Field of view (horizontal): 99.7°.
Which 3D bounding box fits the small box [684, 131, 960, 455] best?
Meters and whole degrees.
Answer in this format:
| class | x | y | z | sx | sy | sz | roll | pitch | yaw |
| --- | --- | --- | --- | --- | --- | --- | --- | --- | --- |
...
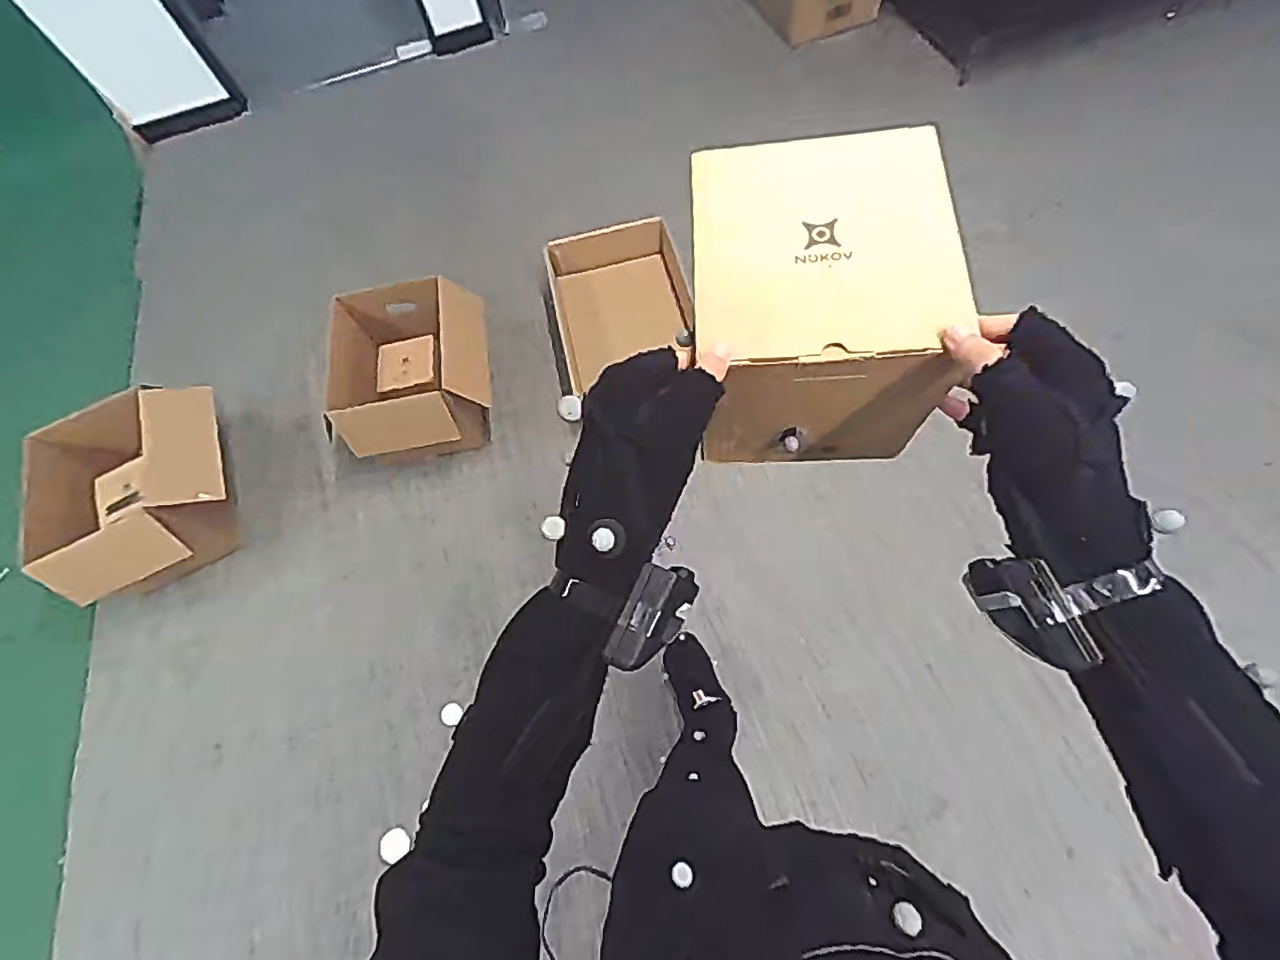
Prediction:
| class | x | y | z | sx | sy | sz | roll | pitch | yaw |
| --- | --- | --- | --- | --- | --- | --- | --- | --- | --- |
| small box | 0.119 | -0.132 | 0.430 | 0.168 | 0.176 | 0.179 | -2 | 70 | 7 |
